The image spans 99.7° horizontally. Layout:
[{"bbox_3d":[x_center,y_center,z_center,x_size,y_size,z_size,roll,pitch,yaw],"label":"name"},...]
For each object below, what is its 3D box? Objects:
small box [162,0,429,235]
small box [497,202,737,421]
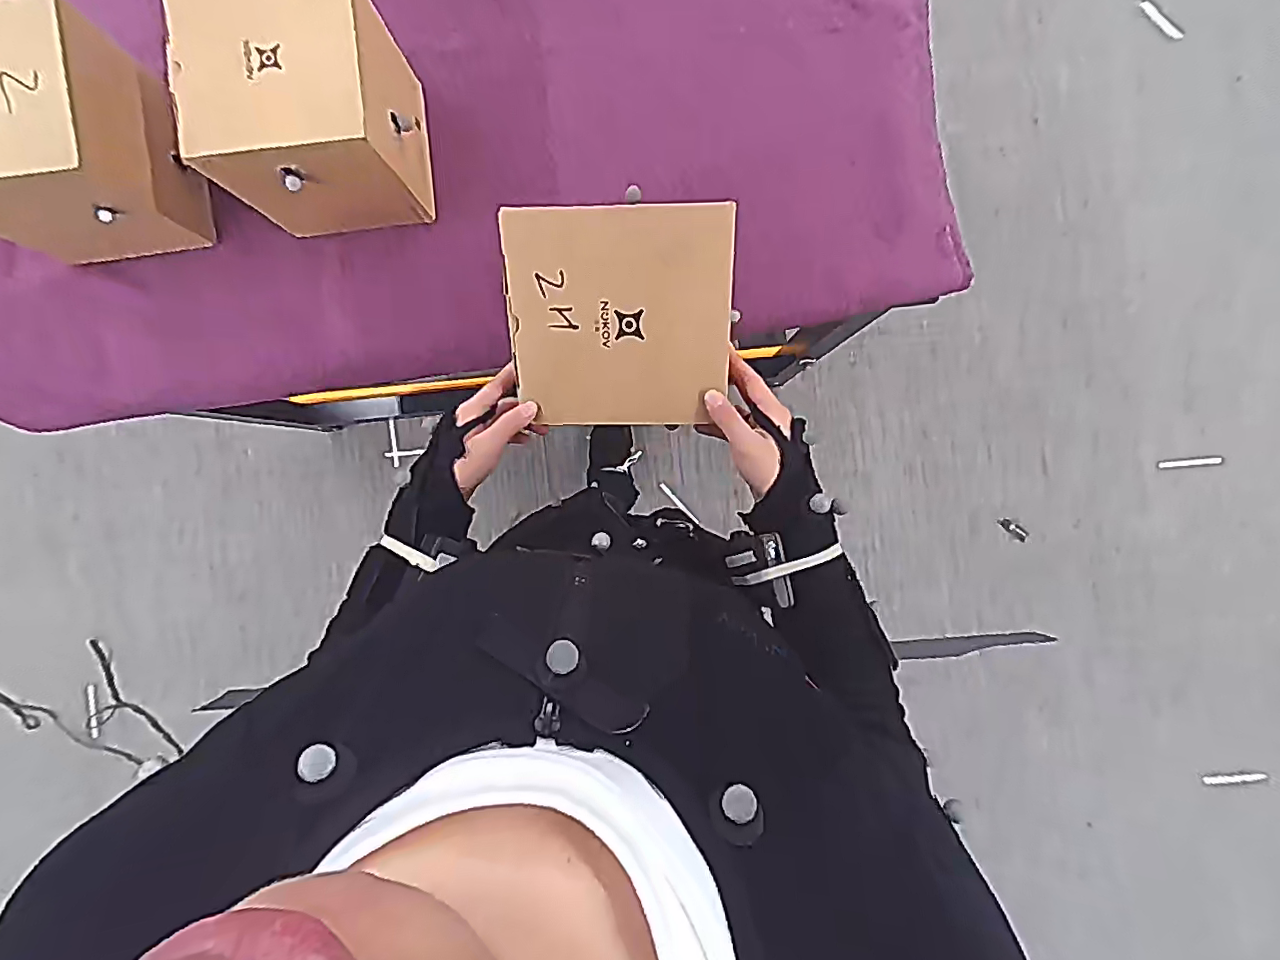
[{"bbox_3d":[-0.337,-0.379,0.567,0.179,0.176,0.168,-6,91,2],"label":"small box"},{"bbox_3d":[-0.012,-0.157,0.491,0.179,0.176,0.168,1,113,4],"label":"small box"}]
